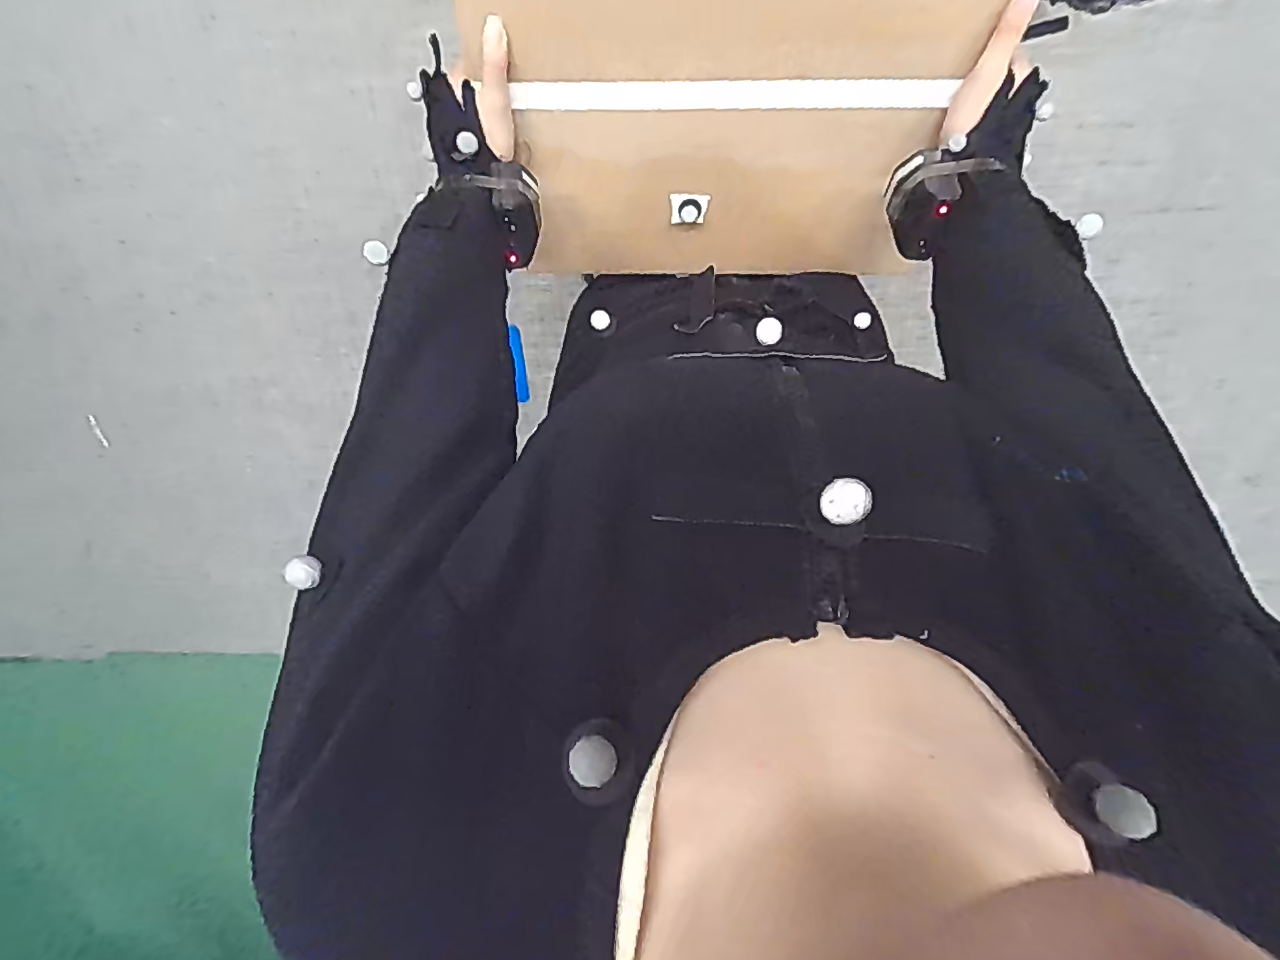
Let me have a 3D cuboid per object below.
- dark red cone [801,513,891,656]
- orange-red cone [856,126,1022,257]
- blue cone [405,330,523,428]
[{"bbox_3d":[0.519,0.260,1.305,0.202,0.394,0.201,-6,120,9],"label":"dark red cone"},{"bbox_3d":[0.546,-0.487,0.931,0.199,0.360,0.198,17,119,-5],"label":"orange-red cone"},{"bbox_3d":[-0.405,-0.201,1.196,0.192,0.380,0.193,1,118,6],"label":"blue cone"}]
